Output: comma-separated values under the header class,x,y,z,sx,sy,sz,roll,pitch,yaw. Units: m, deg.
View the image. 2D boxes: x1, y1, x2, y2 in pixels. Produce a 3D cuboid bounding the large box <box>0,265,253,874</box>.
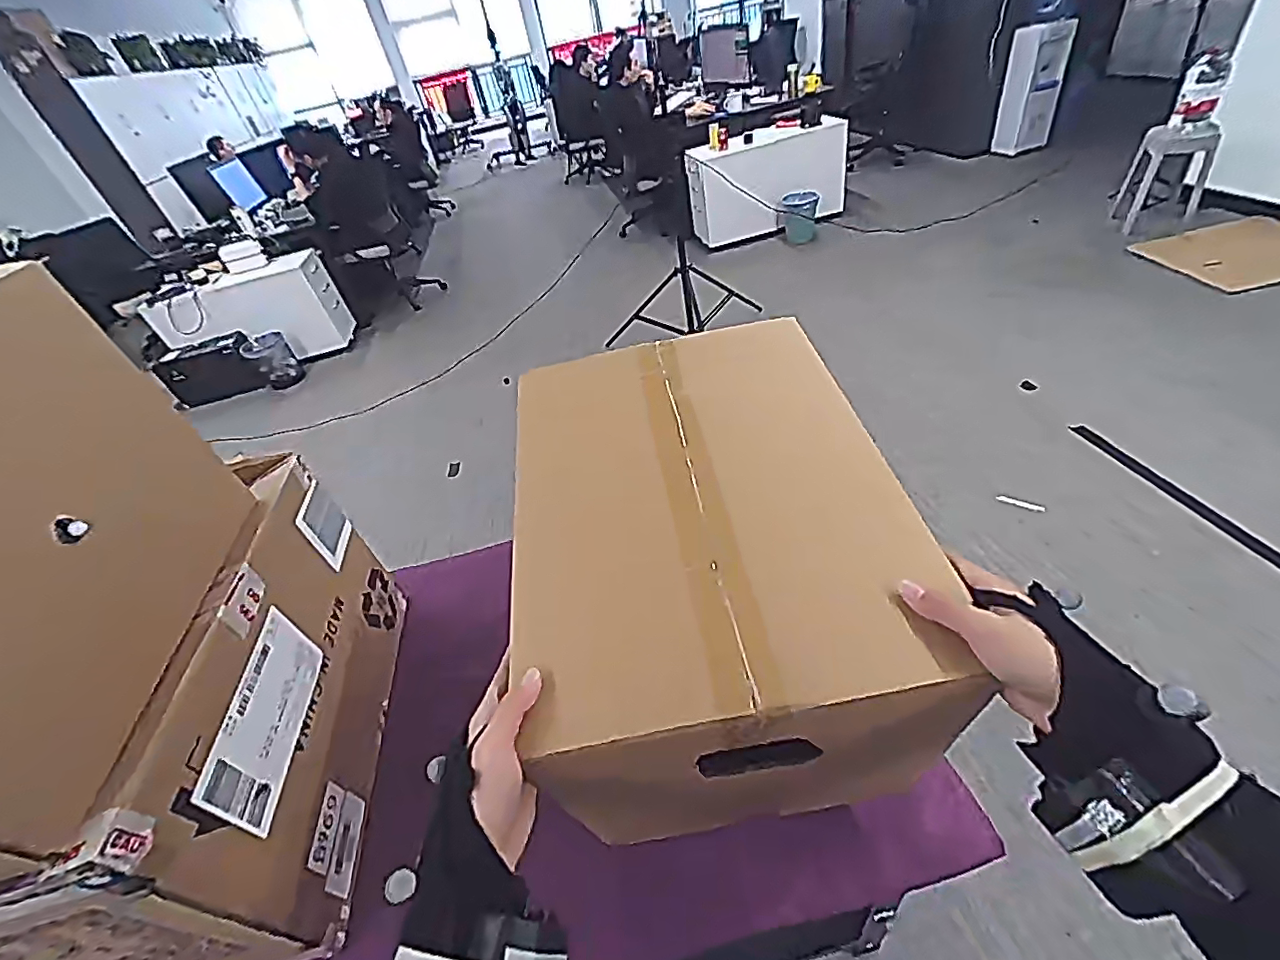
class,x,y,z,sx,sy,sz,roll,pitch,yaw
large box,-0.612,0.076,0.436,0.320,0.320,0.408,-17,41,-1
